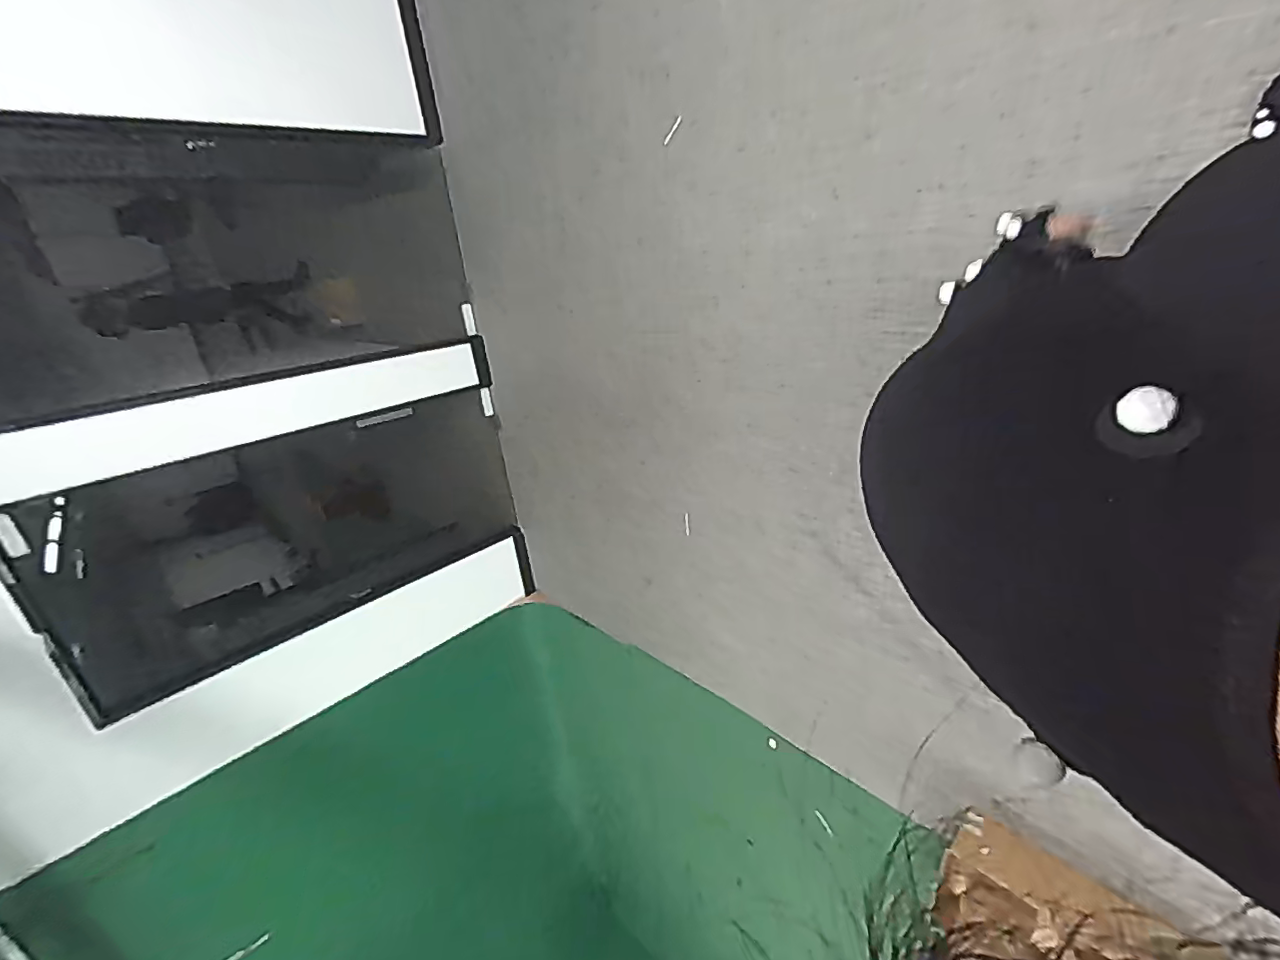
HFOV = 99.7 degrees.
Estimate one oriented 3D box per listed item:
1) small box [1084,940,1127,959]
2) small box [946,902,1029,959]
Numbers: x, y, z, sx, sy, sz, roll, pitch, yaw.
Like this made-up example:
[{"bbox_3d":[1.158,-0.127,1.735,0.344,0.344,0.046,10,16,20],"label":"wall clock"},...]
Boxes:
[{"bbox_3d":[1.277,1.408,1.444,0.168,0.176,0.179,16,119,46],"label":"small box"},{"bbox_3d":[0.964,1.358,1.520,0.168,0.176,0.179,21,121,41],"label":"small box"}]
